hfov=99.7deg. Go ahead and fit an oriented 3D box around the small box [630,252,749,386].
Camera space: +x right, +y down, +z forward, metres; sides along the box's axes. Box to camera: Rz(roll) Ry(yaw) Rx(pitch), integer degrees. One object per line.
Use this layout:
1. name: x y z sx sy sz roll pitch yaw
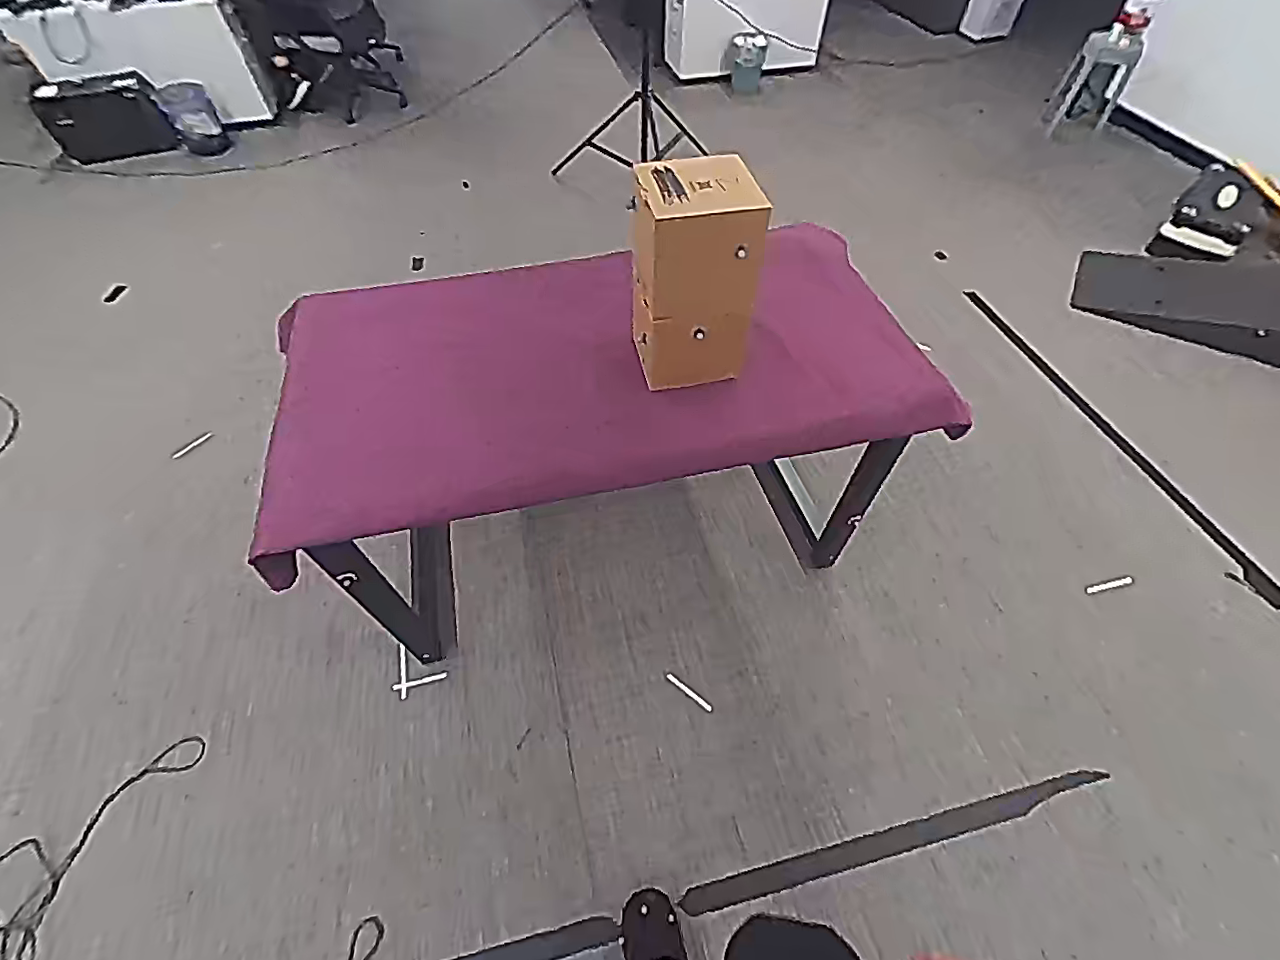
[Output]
1. small box: 0.083 -0.293 1.001 0.179 0.176 0.168 -10 56 -8
